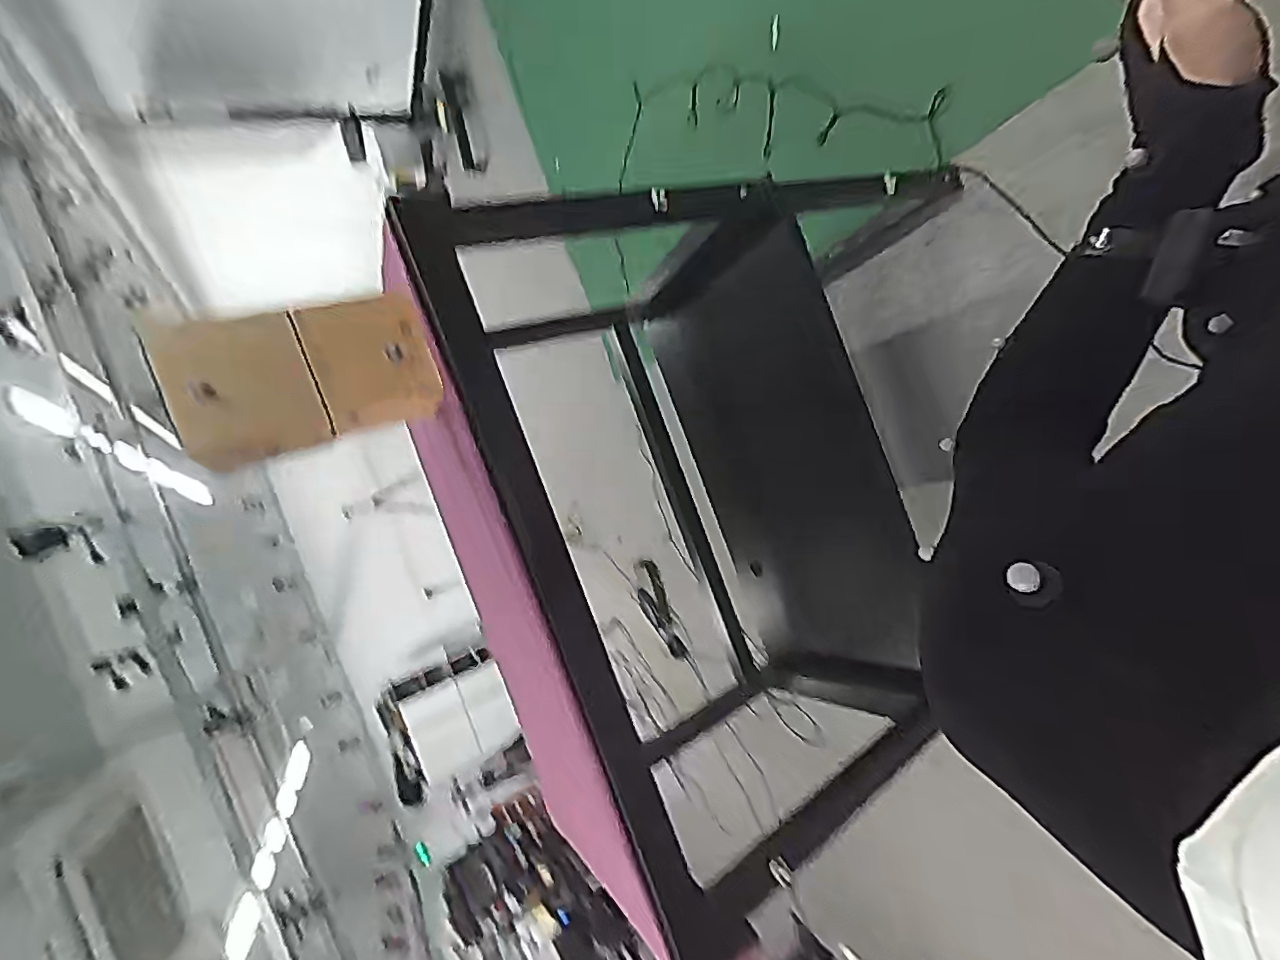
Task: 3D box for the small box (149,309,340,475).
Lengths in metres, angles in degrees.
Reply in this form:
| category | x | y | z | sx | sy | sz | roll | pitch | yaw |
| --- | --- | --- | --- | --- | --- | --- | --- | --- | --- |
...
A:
| category | x | y | z | sx | sy | sz | roll | pitch | yaw |
| --- | --- | --- | --- | --- | --- | --- | --- | --- | --- |
| small box | -0.553 | -0.125 | 0.786 | 0.168 | 0.176 | 0.179 | -20 | 91 | 61 |

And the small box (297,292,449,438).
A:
| category | x | y | z | sx | sy | sz | roll | pitch | yaw |
| --- | --- | --- | --- | --- | --- | --- | --- | --- | --- |
| small box | -0.423 | -0.181 | 0.871 | 0.179 | 0.176 | 0.168 | -20 | 91 | 61 |
